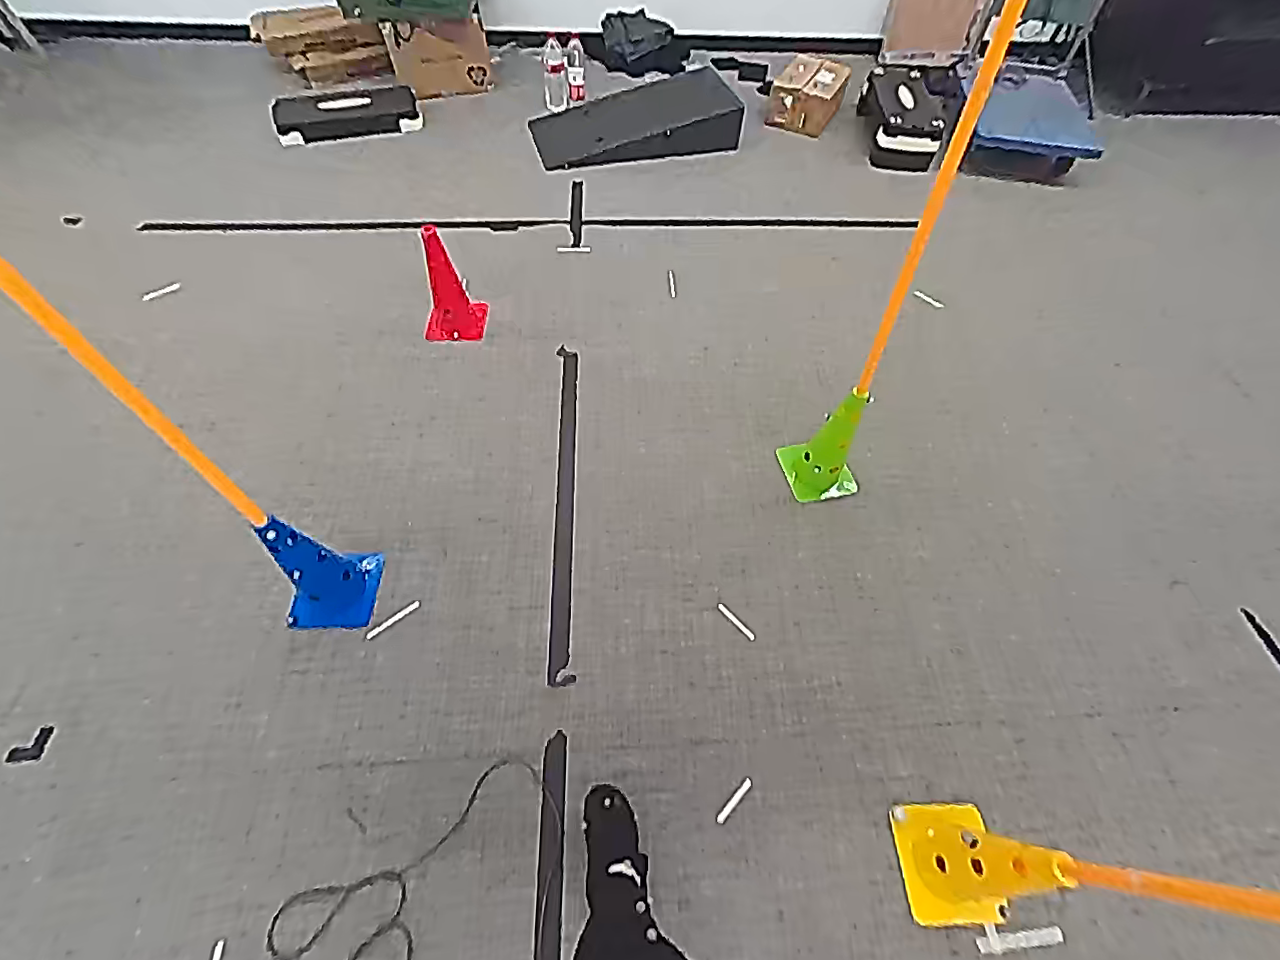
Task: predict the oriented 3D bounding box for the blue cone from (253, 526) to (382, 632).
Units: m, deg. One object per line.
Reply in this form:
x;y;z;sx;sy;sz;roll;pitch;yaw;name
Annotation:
-0.759;0.201;1.236;0.193;0.380;0.192;1;57;-1;blue cone

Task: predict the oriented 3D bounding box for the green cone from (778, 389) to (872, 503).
0.543;-0.119;1.492;0.200;0.368;0.202;-10;59;-9;green cone
